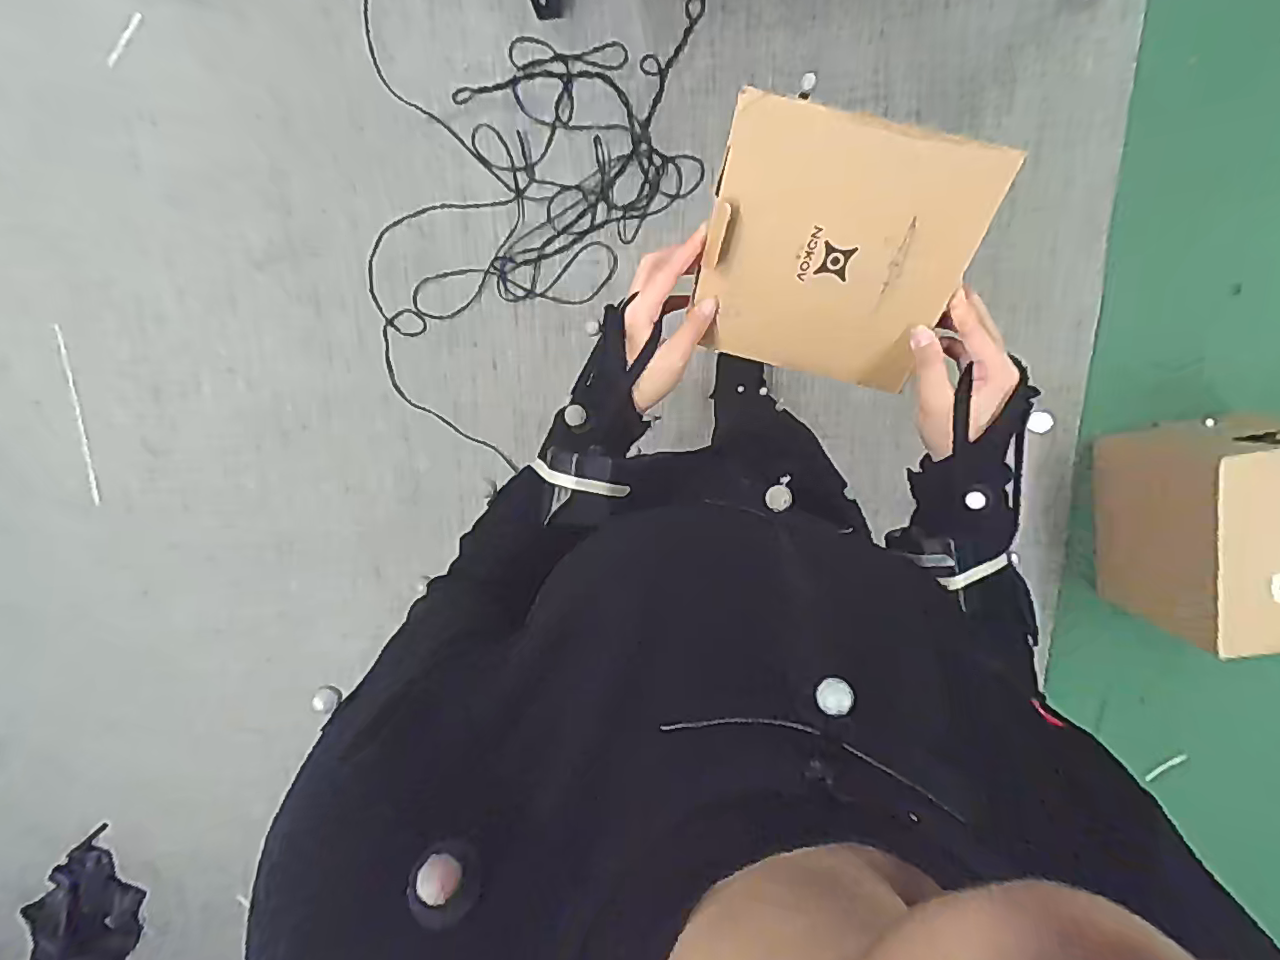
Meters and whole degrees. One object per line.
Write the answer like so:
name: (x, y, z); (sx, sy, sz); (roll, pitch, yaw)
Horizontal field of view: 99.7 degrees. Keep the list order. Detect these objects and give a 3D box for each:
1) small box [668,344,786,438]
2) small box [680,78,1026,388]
small box: (0.192, -0.213, 1.179); (0.179, 0.168, 0.176); (41, 133, -20)
small box: (0.140, -0.198, 0.427); (0.179, 0.176, 0.168); (13, 127, 2)
